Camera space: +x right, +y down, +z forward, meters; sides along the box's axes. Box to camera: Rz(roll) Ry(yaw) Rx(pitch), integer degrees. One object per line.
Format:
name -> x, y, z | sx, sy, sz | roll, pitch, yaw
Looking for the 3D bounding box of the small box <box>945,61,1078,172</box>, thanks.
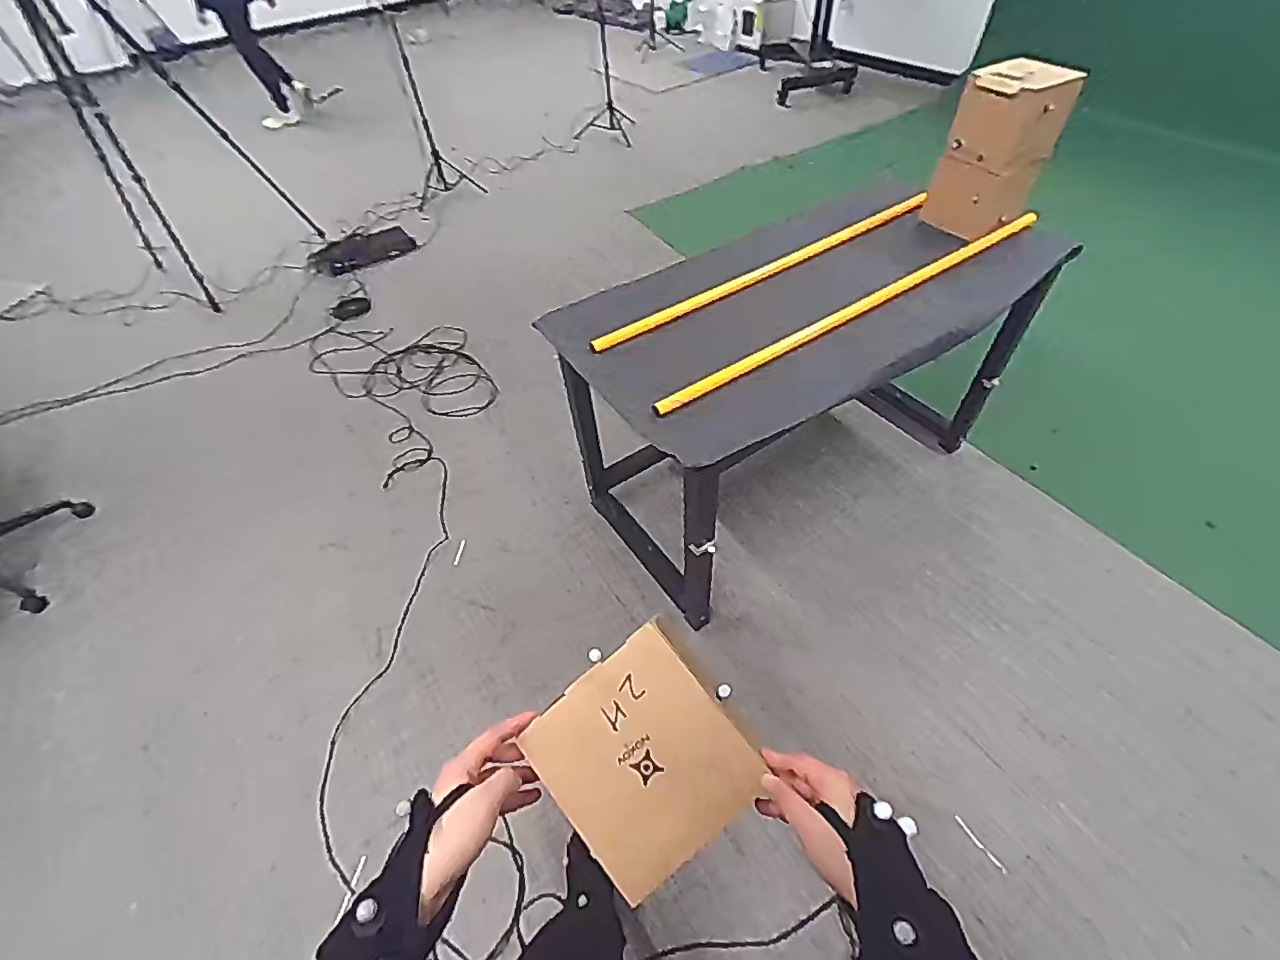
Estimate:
small box -> 0.853, -0.849, 1.268 | 0.179, 0.176, 0.168 | -25, 54, -16
